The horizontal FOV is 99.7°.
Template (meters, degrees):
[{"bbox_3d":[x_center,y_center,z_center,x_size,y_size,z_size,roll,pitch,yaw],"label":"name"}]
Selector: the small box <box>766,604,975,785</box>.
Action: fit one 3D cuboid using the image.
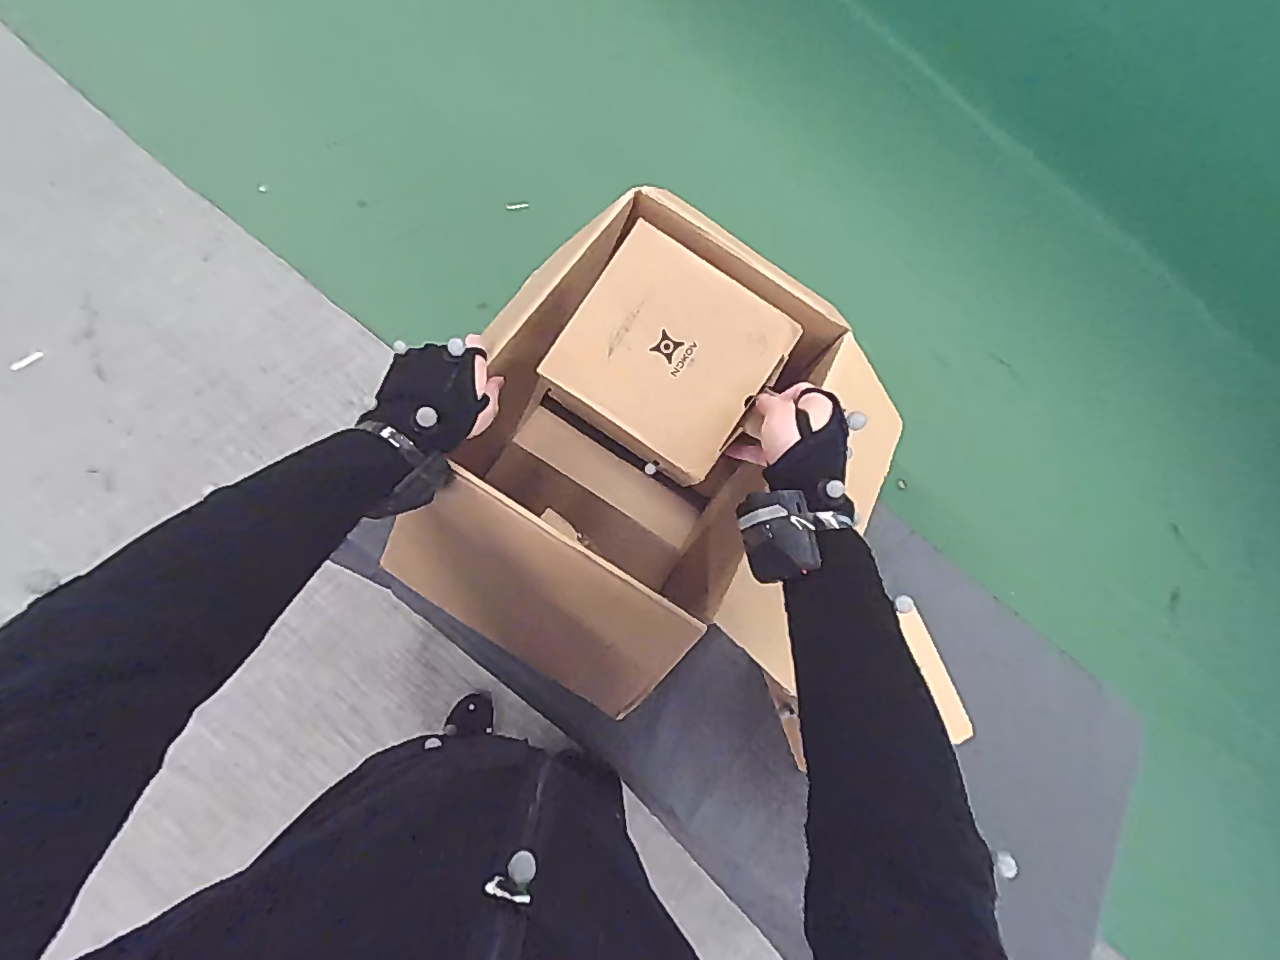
[{"bbox_3d":[0.302,0.283,0.745,0.168,0.176,0.179,-13,75,-18],"label":"small box"}]
